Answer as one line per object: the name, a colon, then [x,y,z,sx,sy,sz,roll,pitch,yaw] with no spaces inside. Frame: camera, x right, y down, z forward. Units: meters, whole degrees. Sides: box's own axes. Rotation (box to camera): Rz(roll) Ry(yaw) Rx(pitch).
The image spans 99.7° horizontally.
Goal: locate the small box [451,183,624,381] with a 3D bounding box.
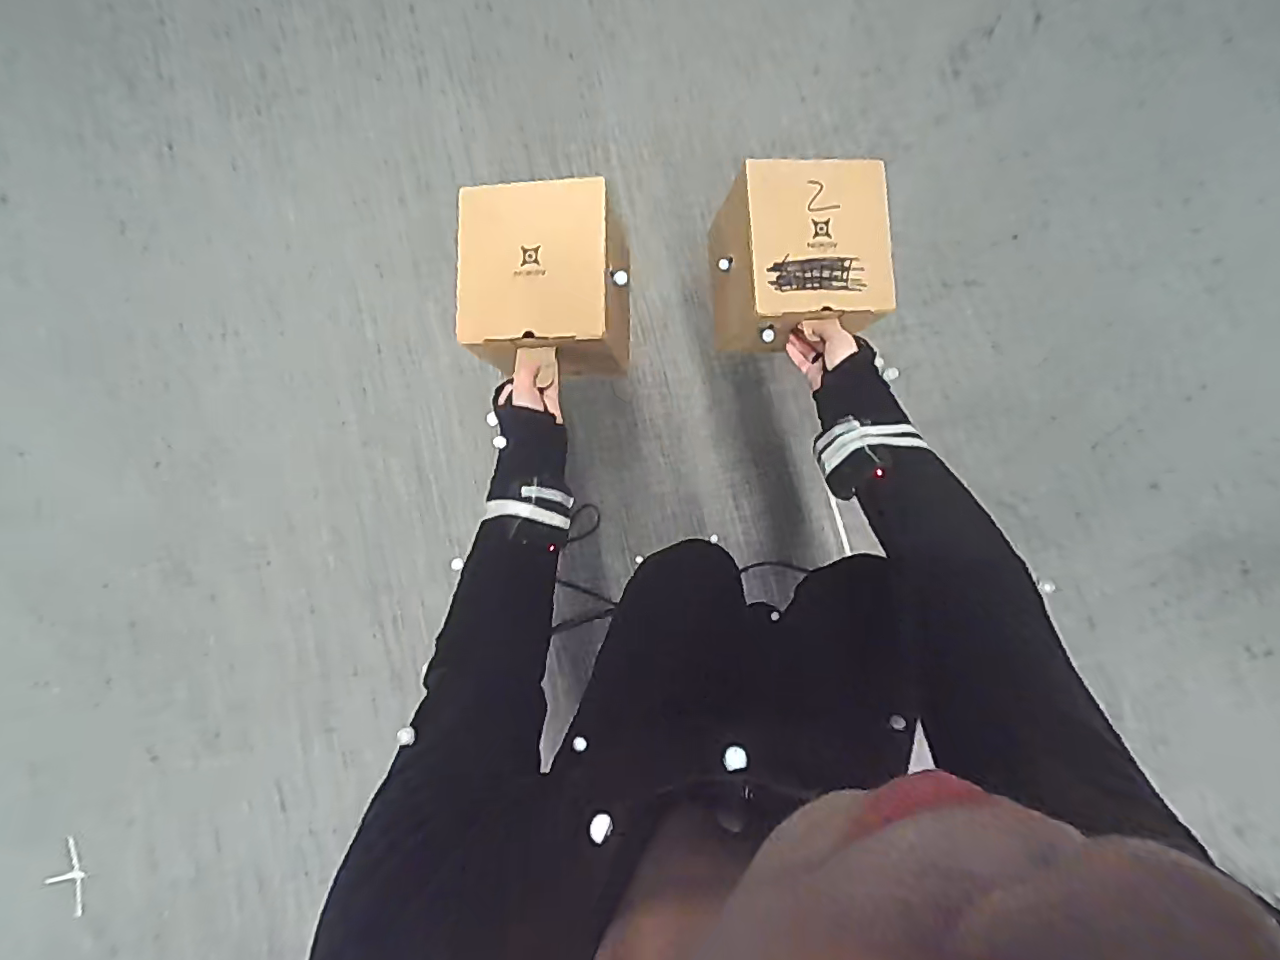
small box: [-0.113,-0.227,0.659,0.168,0.176,0.179,0,87,7]
